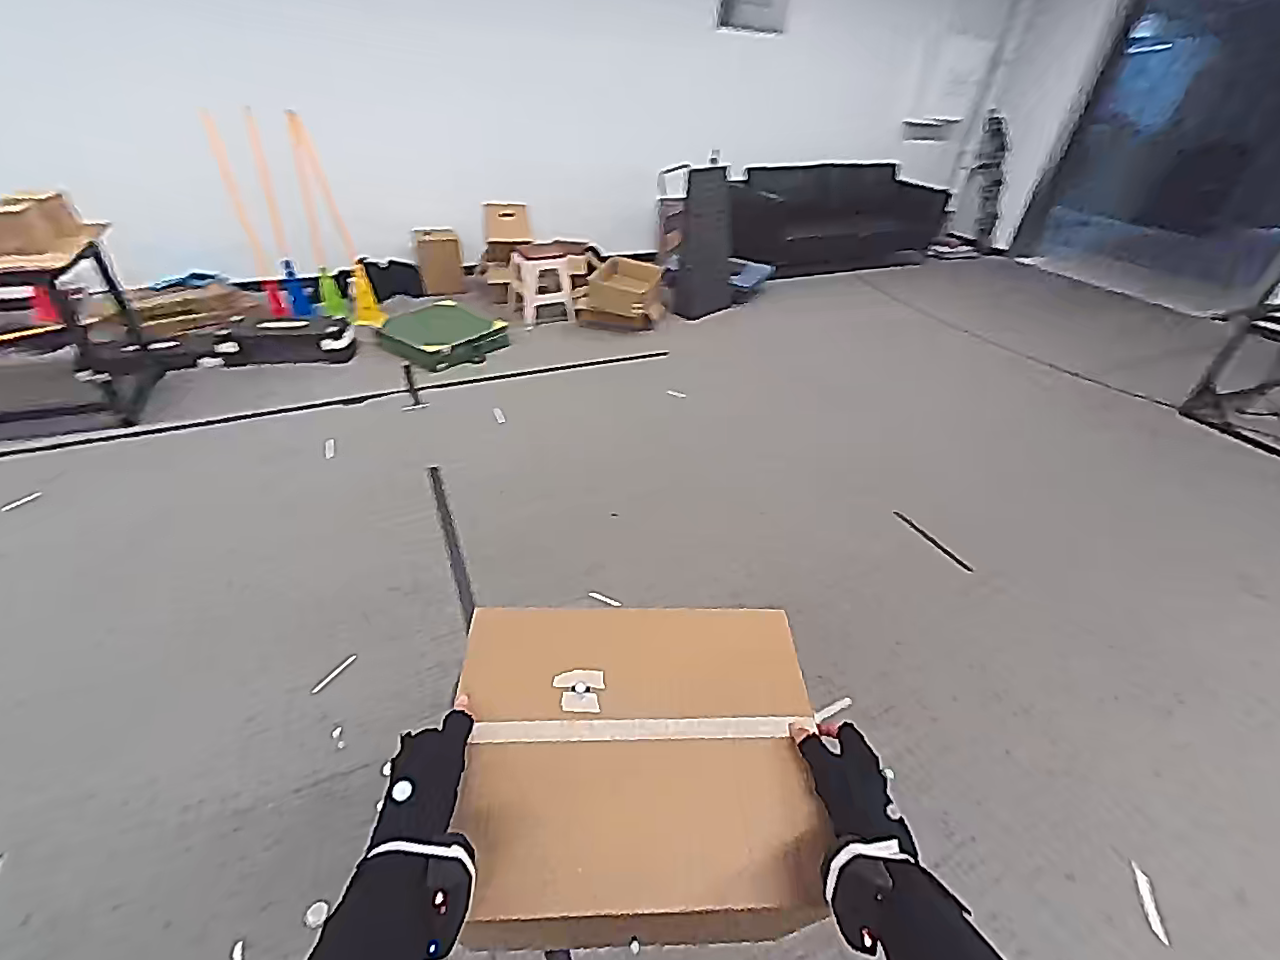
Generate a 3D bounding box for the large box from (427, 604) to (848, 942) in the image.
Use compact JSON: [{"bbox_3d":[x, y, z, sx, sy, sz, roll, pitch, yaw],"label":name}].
[{"bbox_3d":[-0.013,0.381,0.710,0.408,0.320,0.320,0,44,-5],"label":"large box"}]
